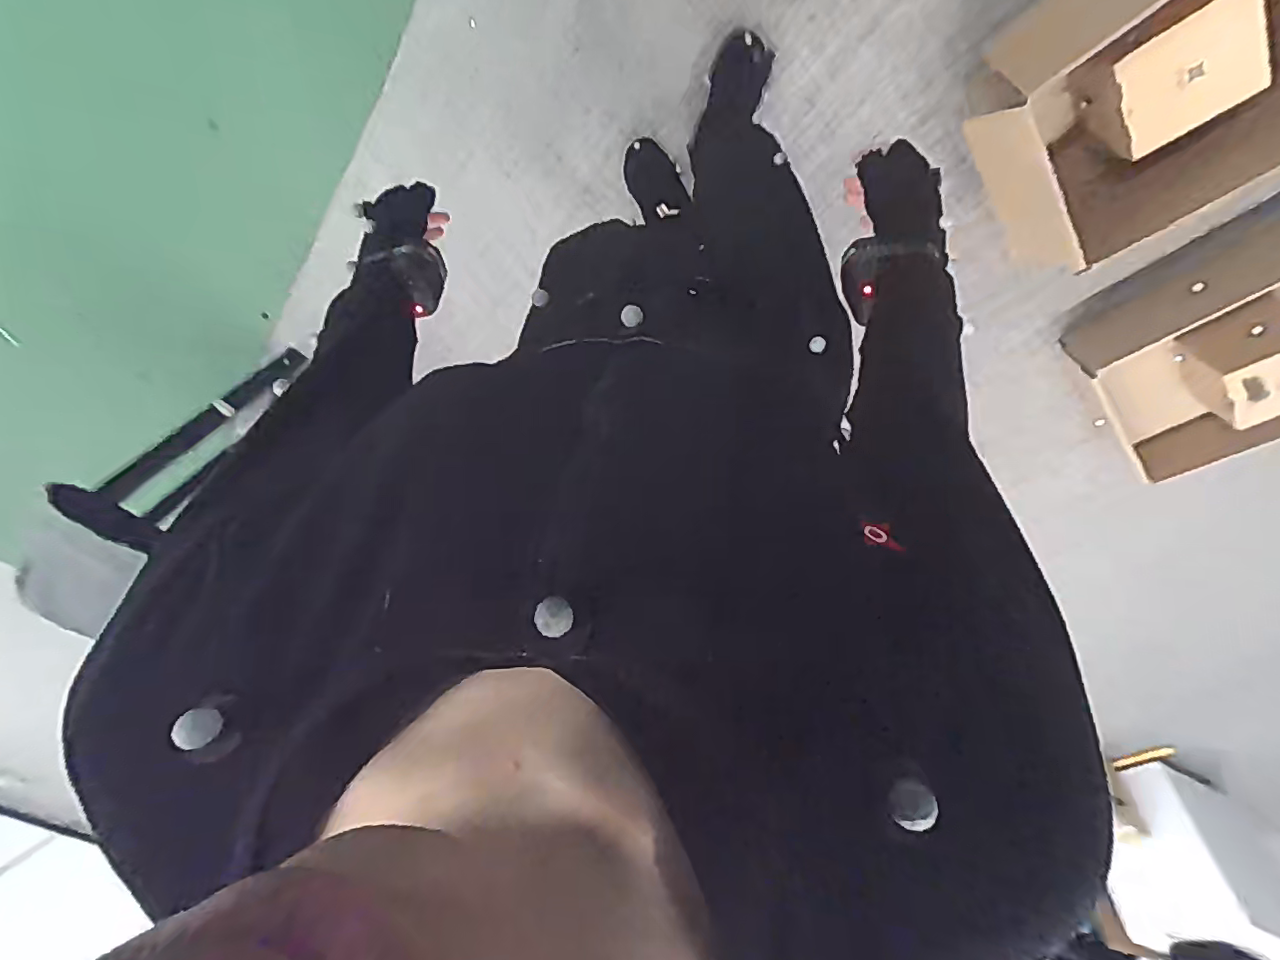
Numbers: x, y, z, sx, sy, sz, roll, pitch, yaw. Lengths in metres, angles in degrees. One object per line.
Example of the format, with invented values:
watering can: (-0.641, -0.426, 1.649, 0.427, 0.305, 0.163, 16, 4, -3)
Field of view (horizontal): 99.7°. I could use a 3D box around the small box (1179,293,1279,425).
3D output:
small box: (1.289, -0.254, 1.133, 0.179, 0.176, 0.168, -31, 119, 29)
